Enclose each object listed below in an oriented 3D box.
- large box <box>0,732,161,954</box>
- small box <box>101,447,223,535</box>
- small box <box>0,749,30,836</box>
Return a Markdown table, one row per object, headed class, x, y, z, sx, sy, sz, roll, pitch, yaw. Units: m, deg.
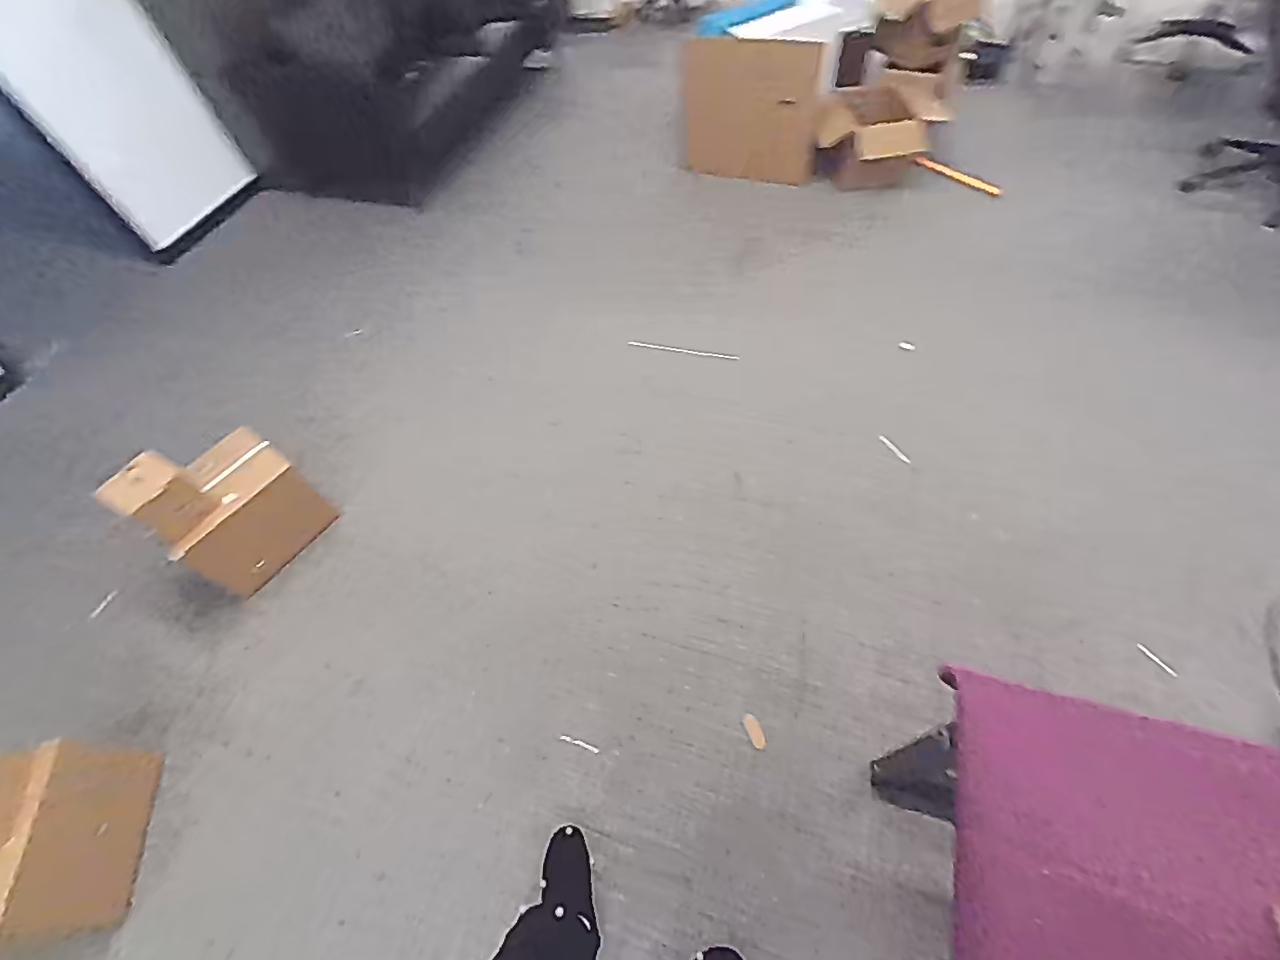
| class | x | y | z | sx | sy | sz | roll | pitch | yaw |
| --- | --- | --- | --- | --- | --- | --- | --- | --- | --- |
| large box | -1.487 | 0.889 | 1.323 | 0.320 | 0.320 | 0.408 | -15 | 57 | -2 |
| small box | -1.394 | 0.039 | 1.589 | 0.179 | 0.176 | 0.168 | 24 | 61 | 19 |
| small box | -1.497 | 0.686 | 1.161 | 0.168 | 0.176 | 0.179 | -14 | 56 | -4 |
